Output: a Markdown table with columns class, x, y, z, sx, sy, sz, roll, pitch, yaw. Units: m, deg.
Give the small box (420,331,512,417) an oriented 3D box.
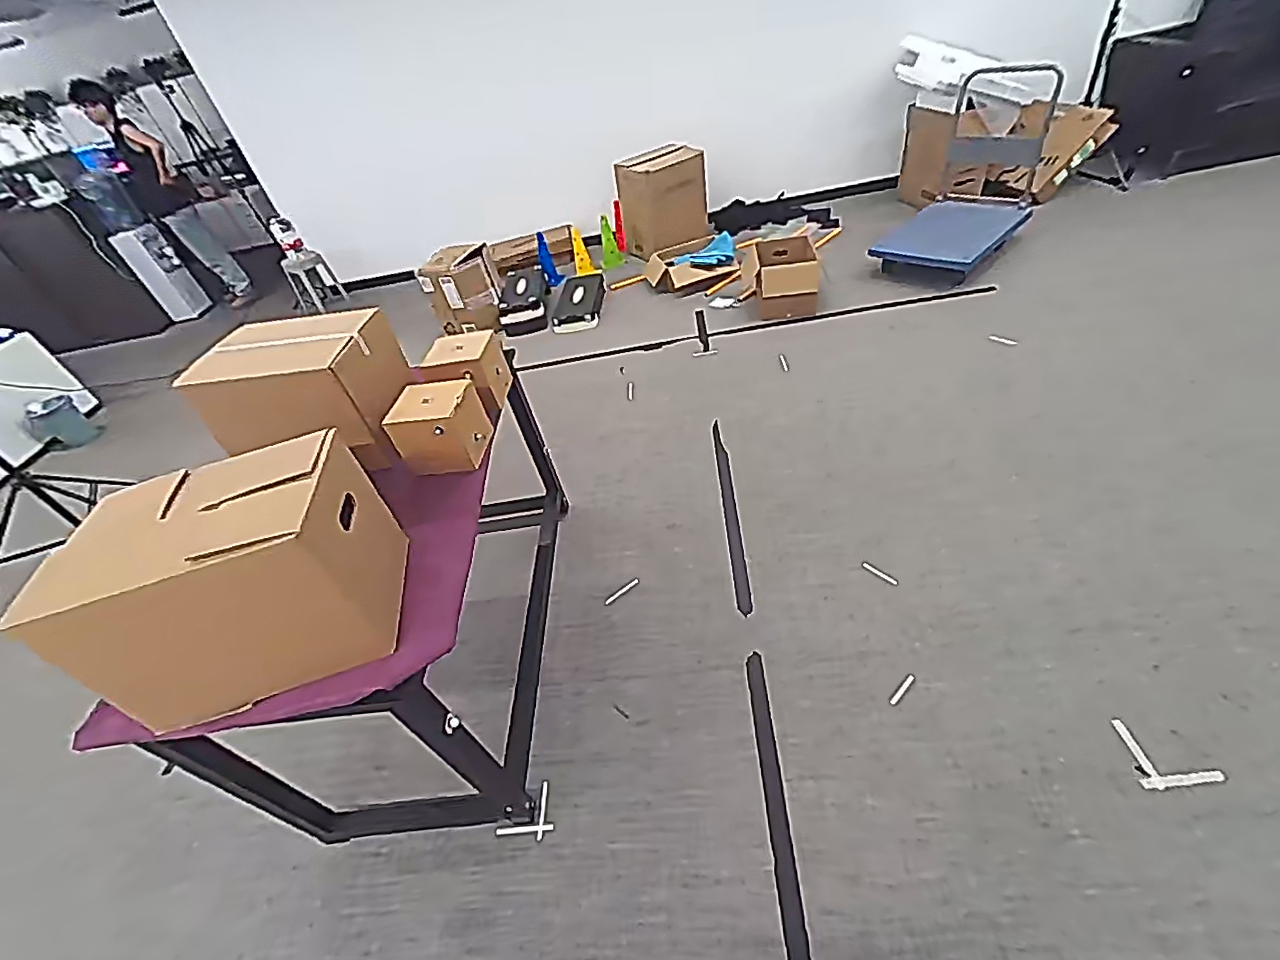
| class | x | y | z | sx | sy | sz | roll | pitch | yaw |
| --- | --- | --- | --- | --- | --- | --- | --- | --- | --- |
| small box | -0.482 | -0.298 | 1.536 | 0.179 | 0.176 | 0.168 | -7 | 41 | 10 |
